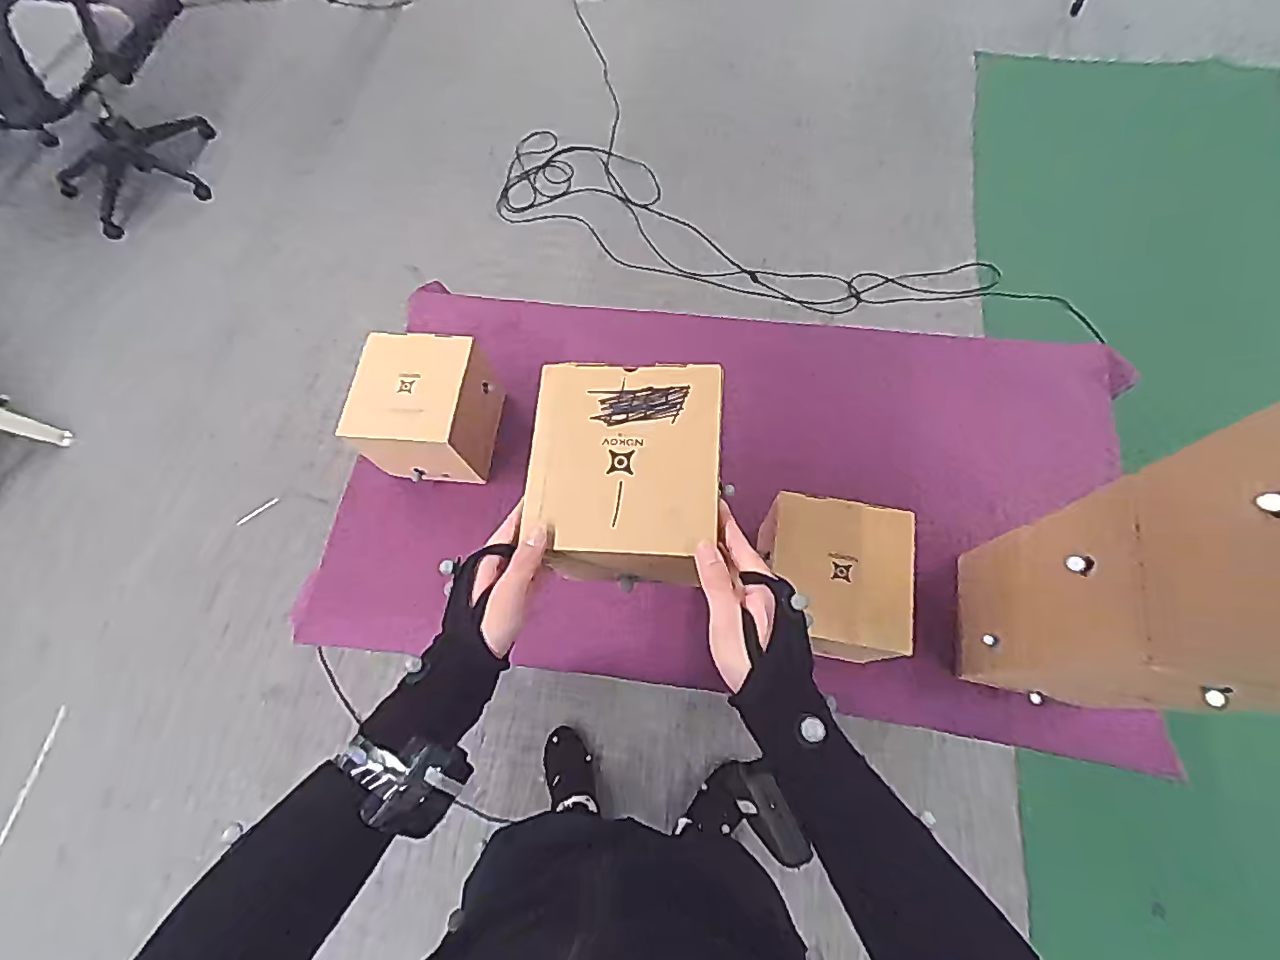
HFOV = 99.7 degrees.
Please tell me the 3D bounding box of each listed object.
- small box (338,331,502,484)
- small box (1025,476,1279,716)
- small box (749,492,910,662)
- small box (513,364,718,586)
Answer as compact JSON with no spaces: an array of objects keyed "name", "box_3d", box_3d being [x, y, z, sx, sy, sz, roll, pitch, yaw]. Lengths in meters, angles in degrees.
[{"name":"small box","box_3d":[-0.329,-0.109,0.852,0.168,0.176,0.179,5,70,6]},{"name":"small box","box_3d":[0.510,0.120,0.529,0.168,0.176,0.179,11,69,9]},{"name":"small box","box_3d":[0.242,0.137,0.720,0.168,0.176,0.179,9,68,8]},{"name":"small box","box_3d":[-0.010,0.003,0.538,0.168,0.176,0.179,2,72,8]}]
